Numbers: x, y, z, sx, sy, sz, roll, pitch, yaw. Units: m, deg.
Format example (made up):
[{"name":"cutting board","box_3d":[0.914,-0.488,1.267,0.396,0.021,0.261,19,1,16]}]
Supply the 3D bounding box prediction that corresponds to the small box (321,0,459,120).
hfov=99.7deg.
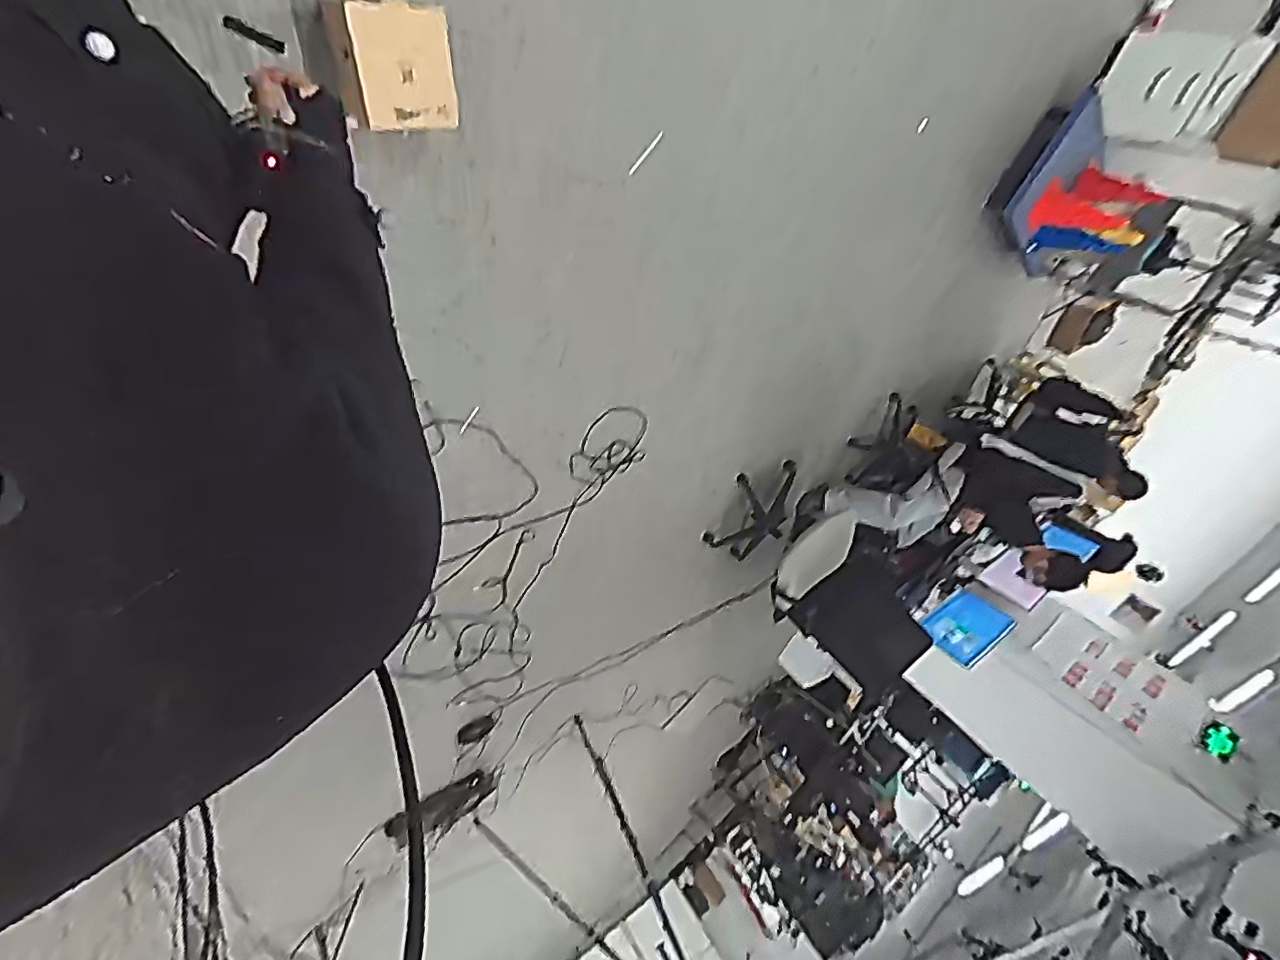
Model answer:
[{"name":"small box","box_3d":[-0.453,-0.768,0.982,0.168,0.176,0.179,-23,137,-28]}]
